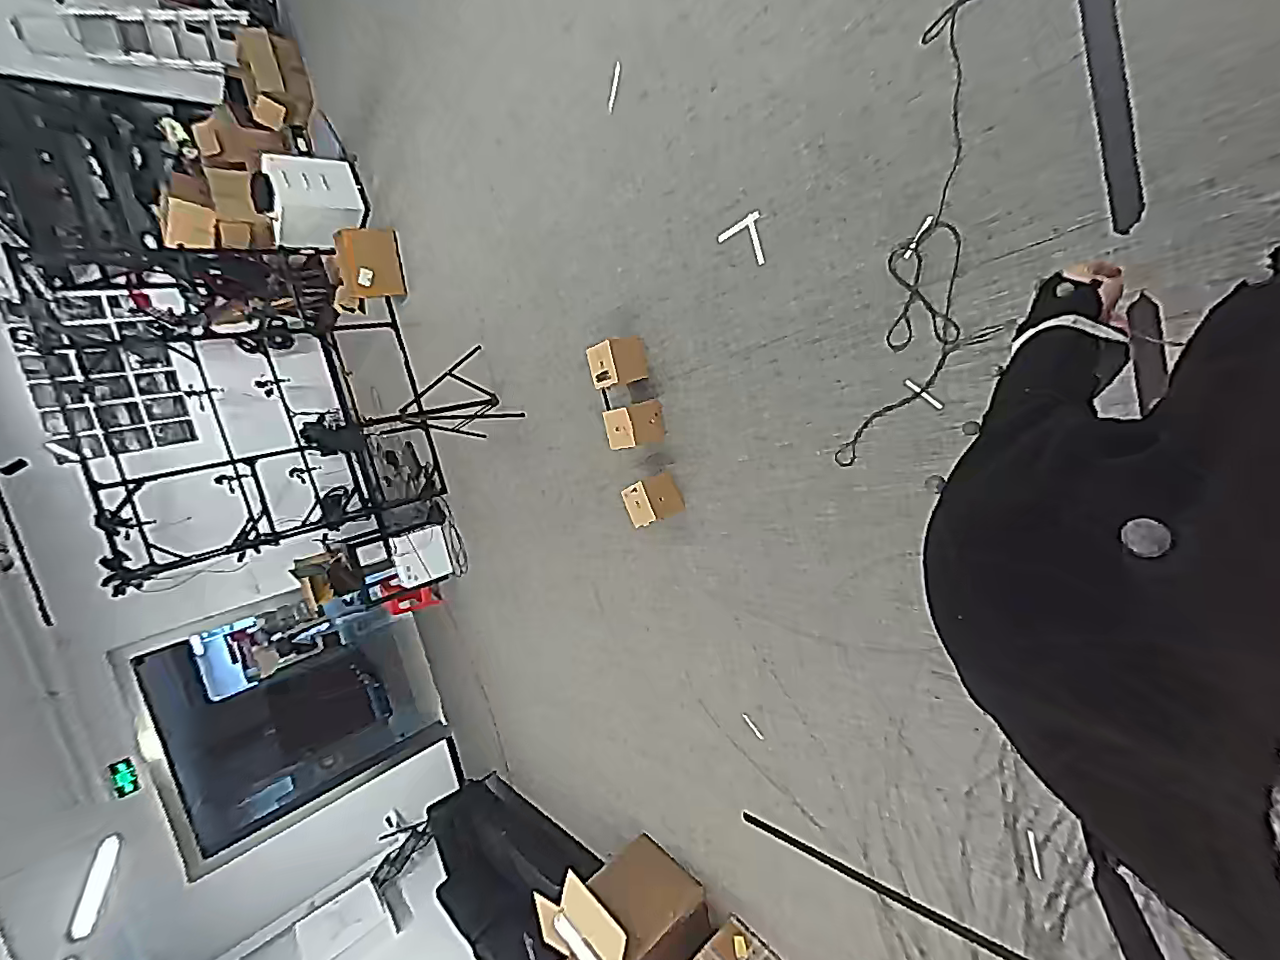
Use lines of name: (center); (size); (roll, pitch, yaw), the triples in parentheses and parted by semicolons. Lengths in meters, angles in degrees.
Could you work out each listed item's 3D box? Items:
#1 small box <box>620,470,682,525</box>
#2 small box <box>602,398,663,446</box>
small box: (0.051, 0.073, 2.314); (0.168, 0.176, 0.179); (-27, 85, 52)
small box: (-0.030, -0.244, 2.275); (0.179, 0.176, 0.168); (-3, 103, 51)
